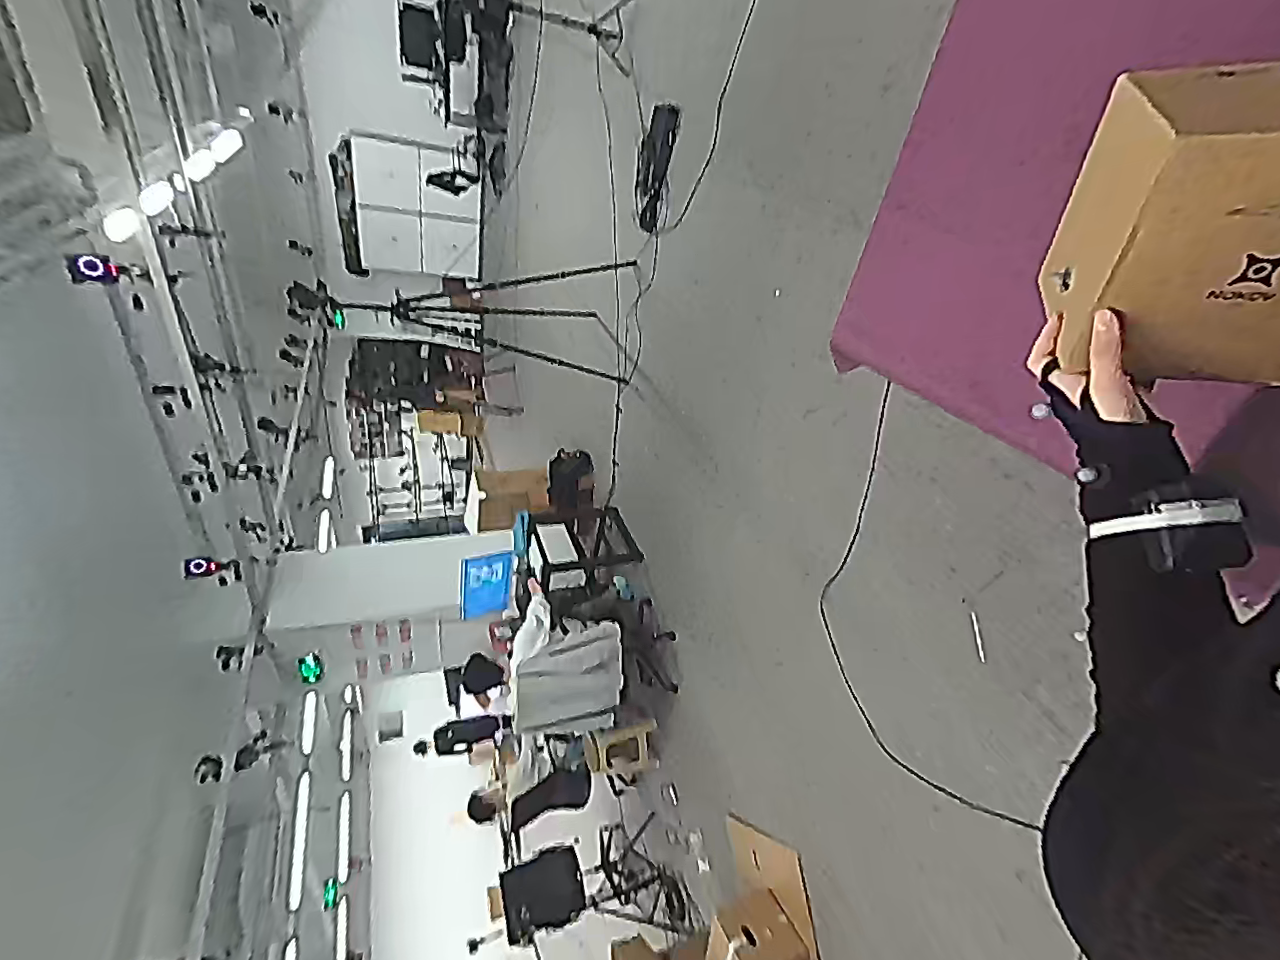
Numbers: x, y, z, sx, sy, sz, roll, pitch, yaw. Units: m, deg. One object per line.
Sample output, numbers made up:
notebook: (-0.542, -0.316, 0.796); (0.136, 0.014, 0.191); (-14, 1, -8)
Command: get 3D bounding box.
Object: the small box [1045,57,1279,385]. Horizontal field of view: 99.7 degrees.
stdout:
small box: (0.443, -0.198, 0.418); (0.179, 0.168, 0.176); (78, -152, -46)
